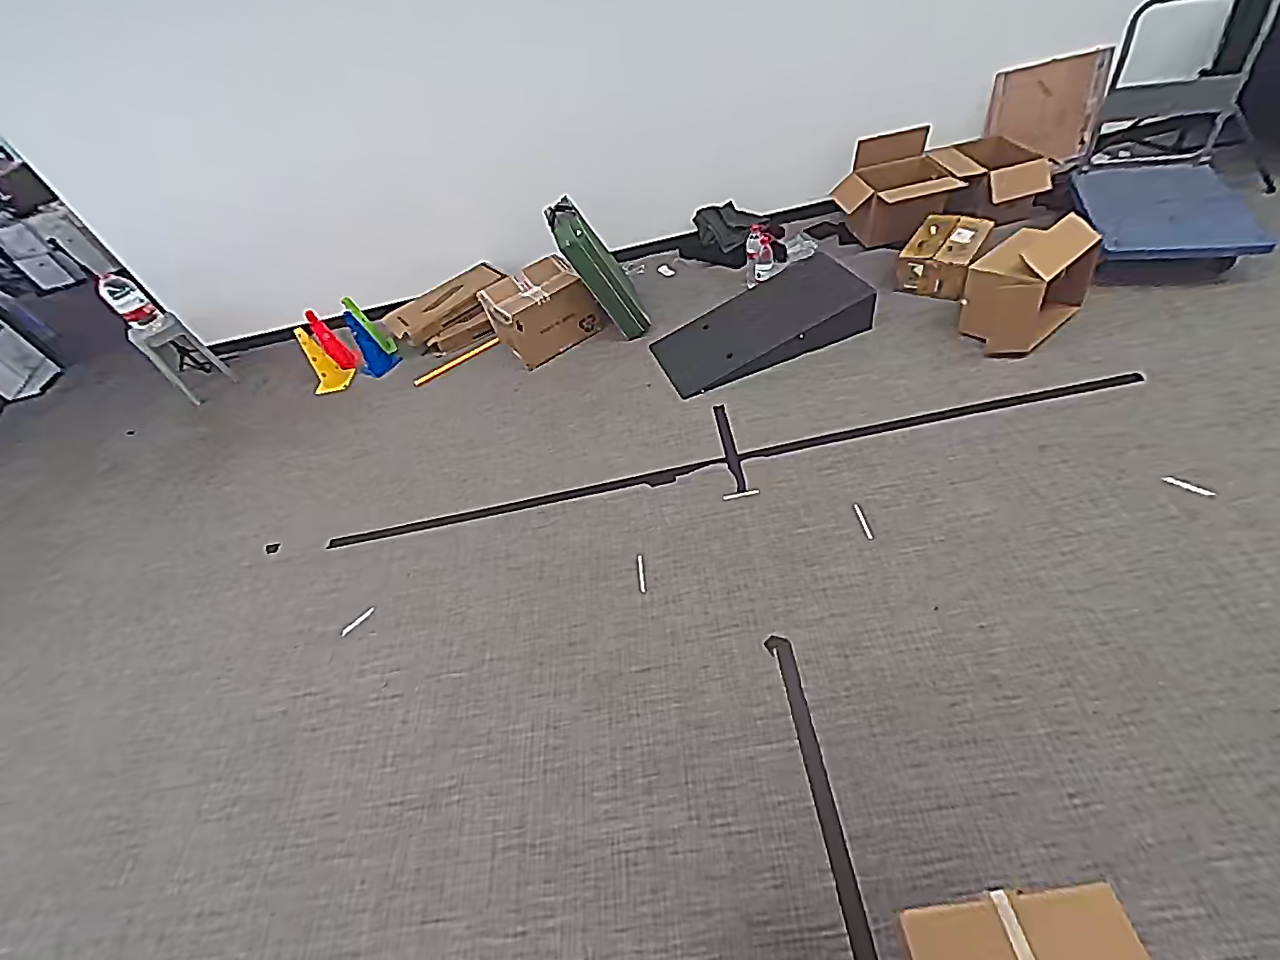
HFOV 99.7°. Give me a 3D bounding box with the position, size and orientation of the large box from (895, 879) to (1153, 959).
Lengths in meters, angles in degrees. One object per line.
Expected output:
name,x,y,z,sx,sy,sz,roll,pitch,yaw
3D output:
large box,0.629,0.883,0.819,0.320,0.320,0.408,-17,48,10
